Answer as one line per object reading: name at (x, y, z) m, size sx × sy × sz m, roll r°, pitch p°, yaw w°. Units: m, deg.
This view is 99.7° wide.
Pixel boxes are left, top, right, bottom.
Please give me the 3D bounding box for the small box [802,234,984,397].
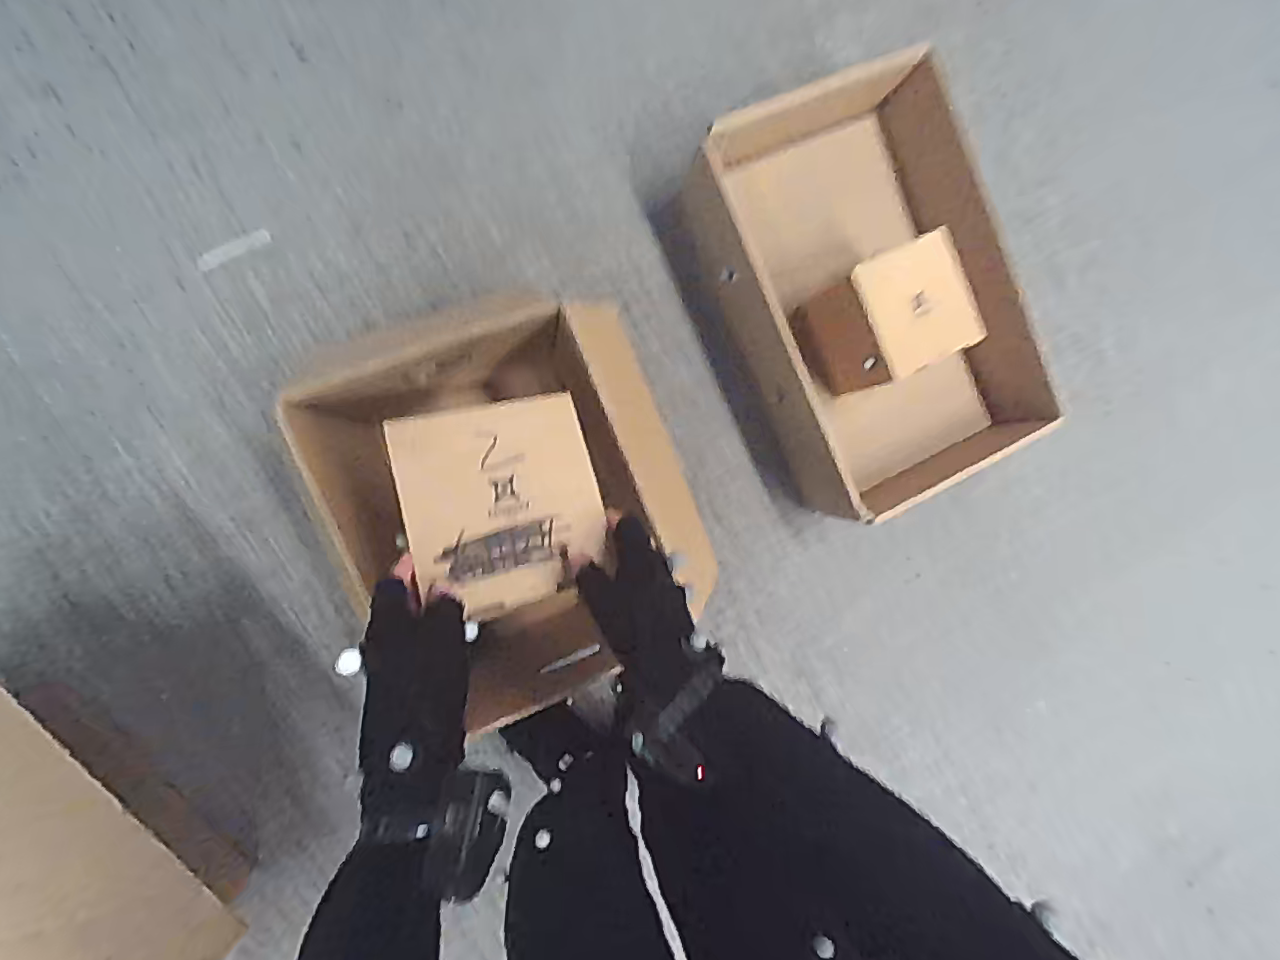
small box at (0.389, -0.250, 0.861) m, size 0.168 × 0.176 × 0.179 m, roll -27°, pitch 95°, yaw -9°
